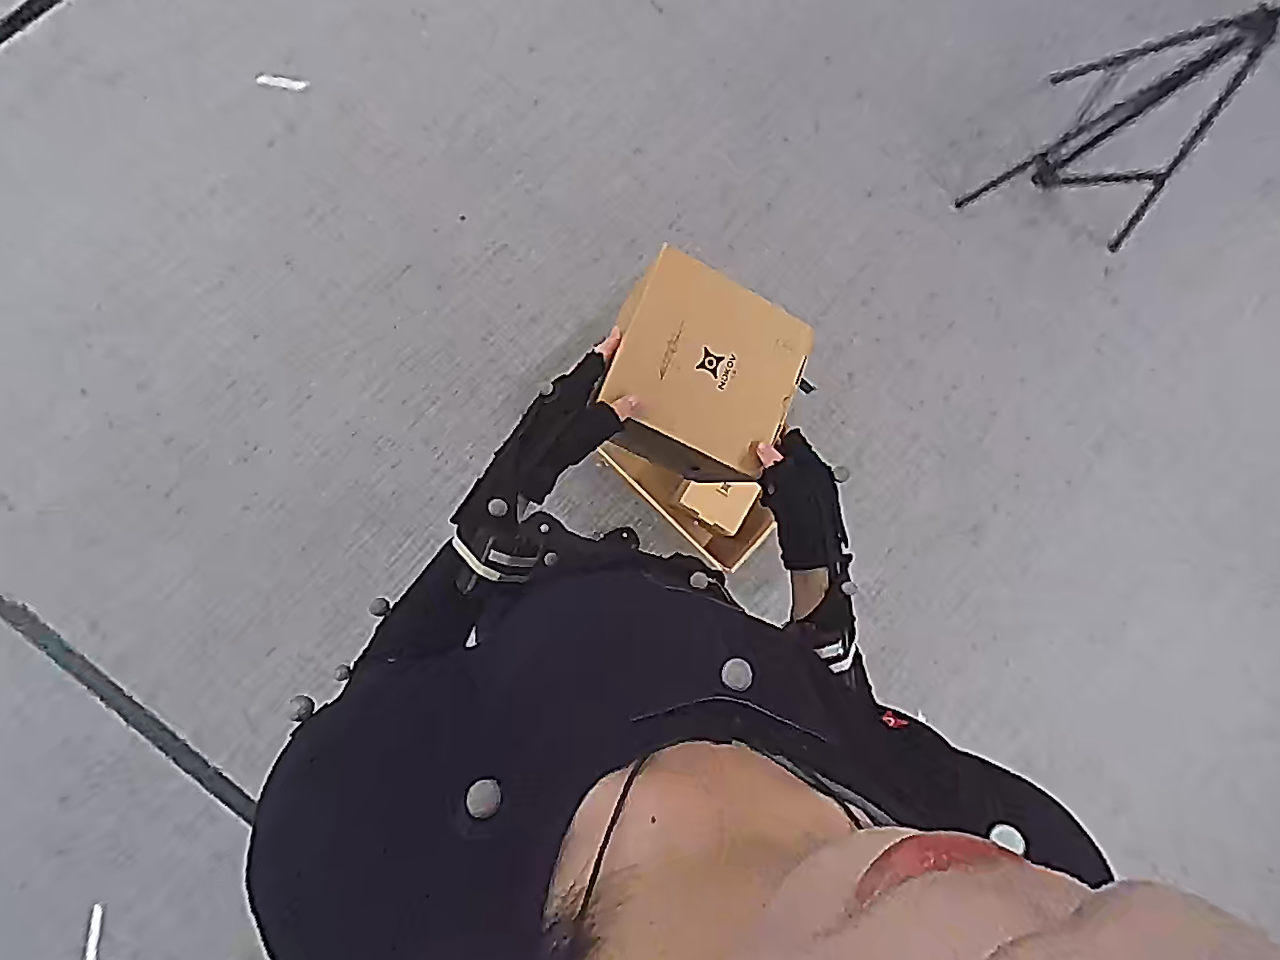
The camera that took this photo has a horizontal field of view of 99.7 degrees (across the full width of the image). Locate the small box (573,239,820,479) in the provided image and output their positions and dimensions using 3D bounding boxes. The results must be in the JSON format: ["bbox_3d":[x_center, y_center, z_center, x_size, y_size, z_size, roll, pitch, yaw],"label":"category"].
[{"bbox_3d":[0.047,-0.107,0.567,0.179,0.176,0.168,23,82,-14],"label":"small box"}]
